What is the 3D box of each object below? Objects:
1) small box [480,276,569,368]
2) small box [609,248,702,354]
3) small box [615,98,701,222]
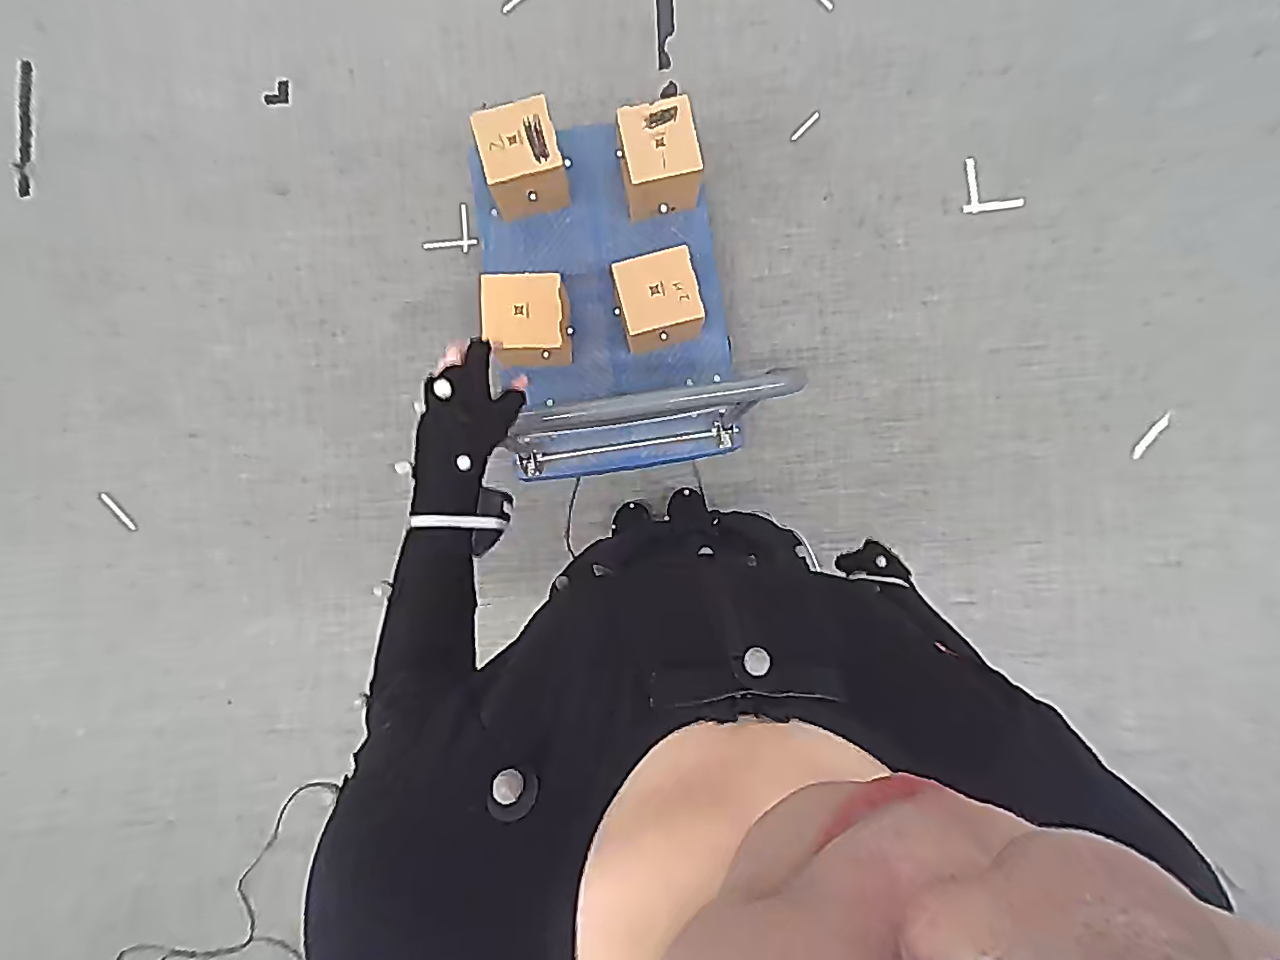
[{"bbox_3d":[-0.264,-0.361,1.263,0.179,0.176,0.168,-2,88,-1],"label":"small box"},{"bbox_3d":[0.037,-0.408,1.263,0.179,0.176,0.168,-15,89,0],"label":"small box"},{"bbox_3d":[0.038,-0.745,1.274,0.168,0.176,0.179,-12,89,0],"label":"small box"}]
